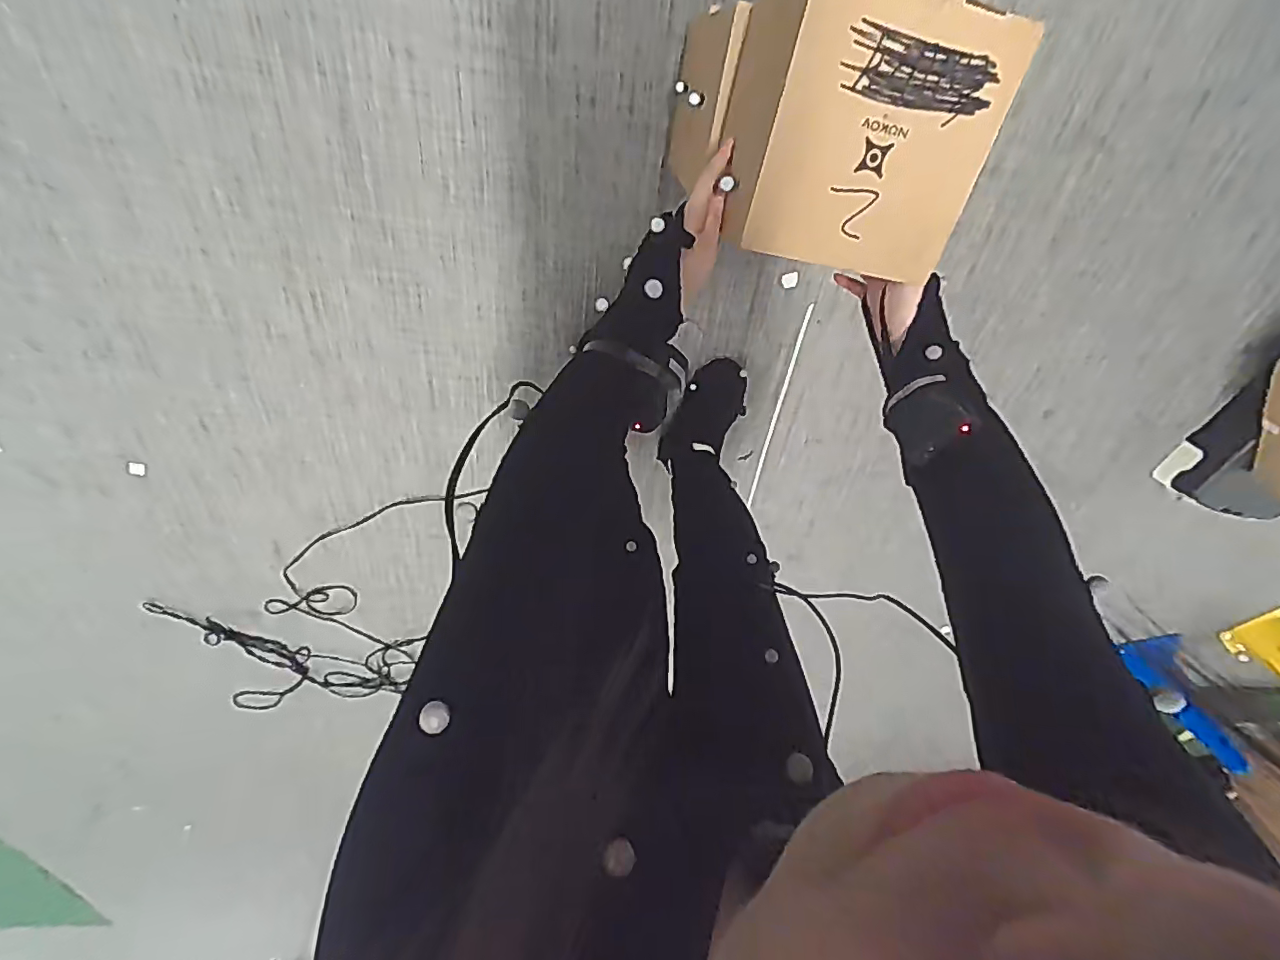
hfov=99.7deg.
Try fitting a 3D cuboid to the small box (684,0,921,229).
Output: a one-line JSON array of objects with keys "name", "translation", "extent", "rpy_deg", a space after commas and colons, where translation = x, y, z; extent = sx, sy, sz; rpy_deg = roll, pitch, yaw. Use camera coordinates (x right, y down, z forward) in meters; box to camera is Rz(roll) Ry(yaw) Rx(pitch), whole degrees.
[{"name": "small box", "translation": [0.152, -0.391, 0.585], "extent": [0.179, 0.176, 0.168], "rpy_deg": [5, 128, -8]}]

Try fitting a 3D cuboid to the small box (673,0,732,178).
[{"name": "small box", "translation": [0.141, -0.497, 0.711], "extent": [0.168, 0.176, 0.179], "rpy_deg": [5, 127, -8]}]
